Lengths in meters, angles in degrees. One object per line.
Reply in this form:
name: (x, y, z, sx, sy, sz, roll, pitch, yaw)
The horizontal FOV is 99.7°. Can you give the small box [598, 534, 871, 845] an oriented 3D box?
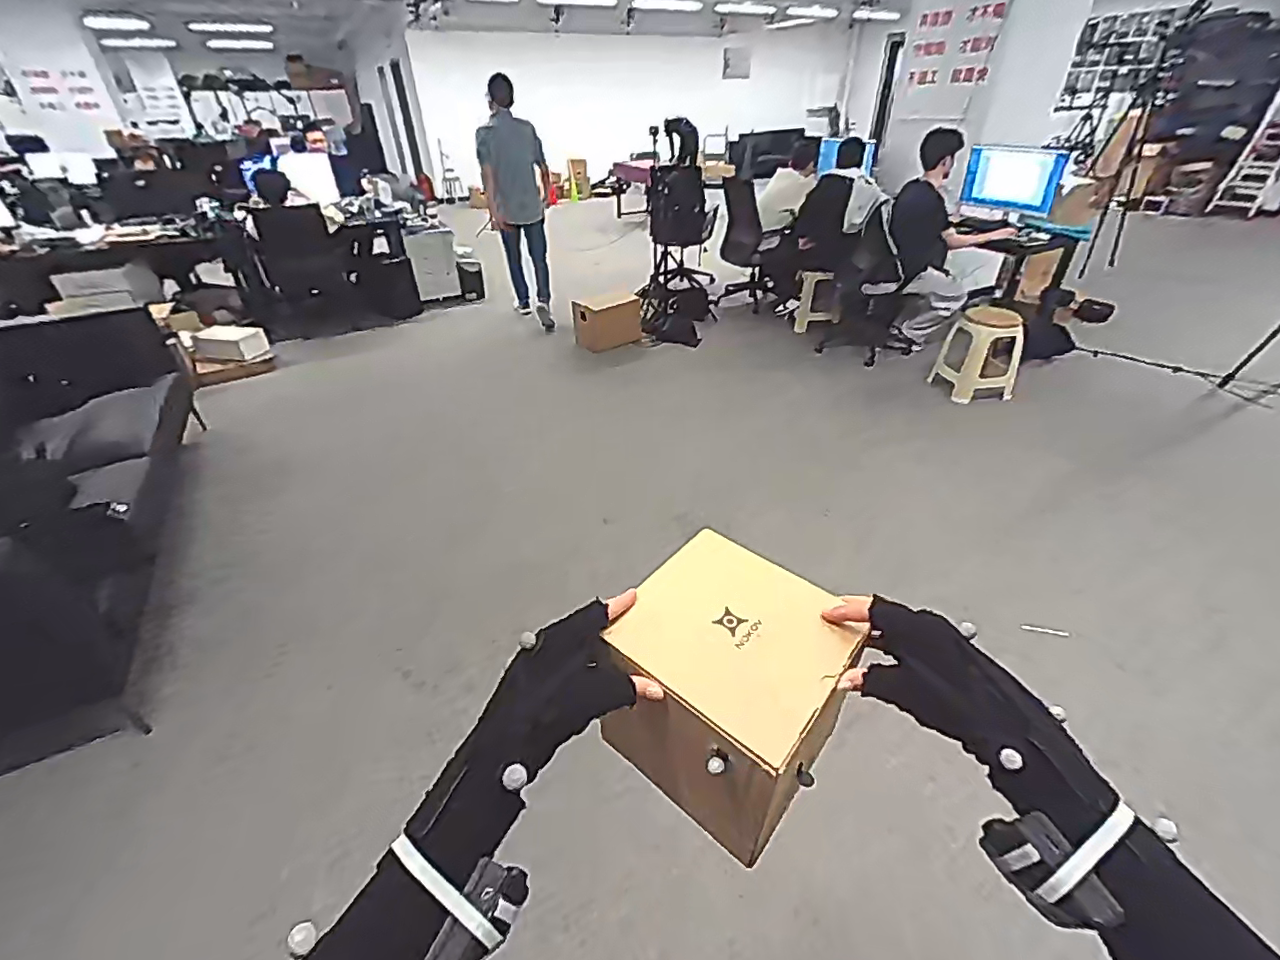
small box: (0.079, 0.187, 0.504, 0.179, 0.176, 0.168, 28, 45, 32)
